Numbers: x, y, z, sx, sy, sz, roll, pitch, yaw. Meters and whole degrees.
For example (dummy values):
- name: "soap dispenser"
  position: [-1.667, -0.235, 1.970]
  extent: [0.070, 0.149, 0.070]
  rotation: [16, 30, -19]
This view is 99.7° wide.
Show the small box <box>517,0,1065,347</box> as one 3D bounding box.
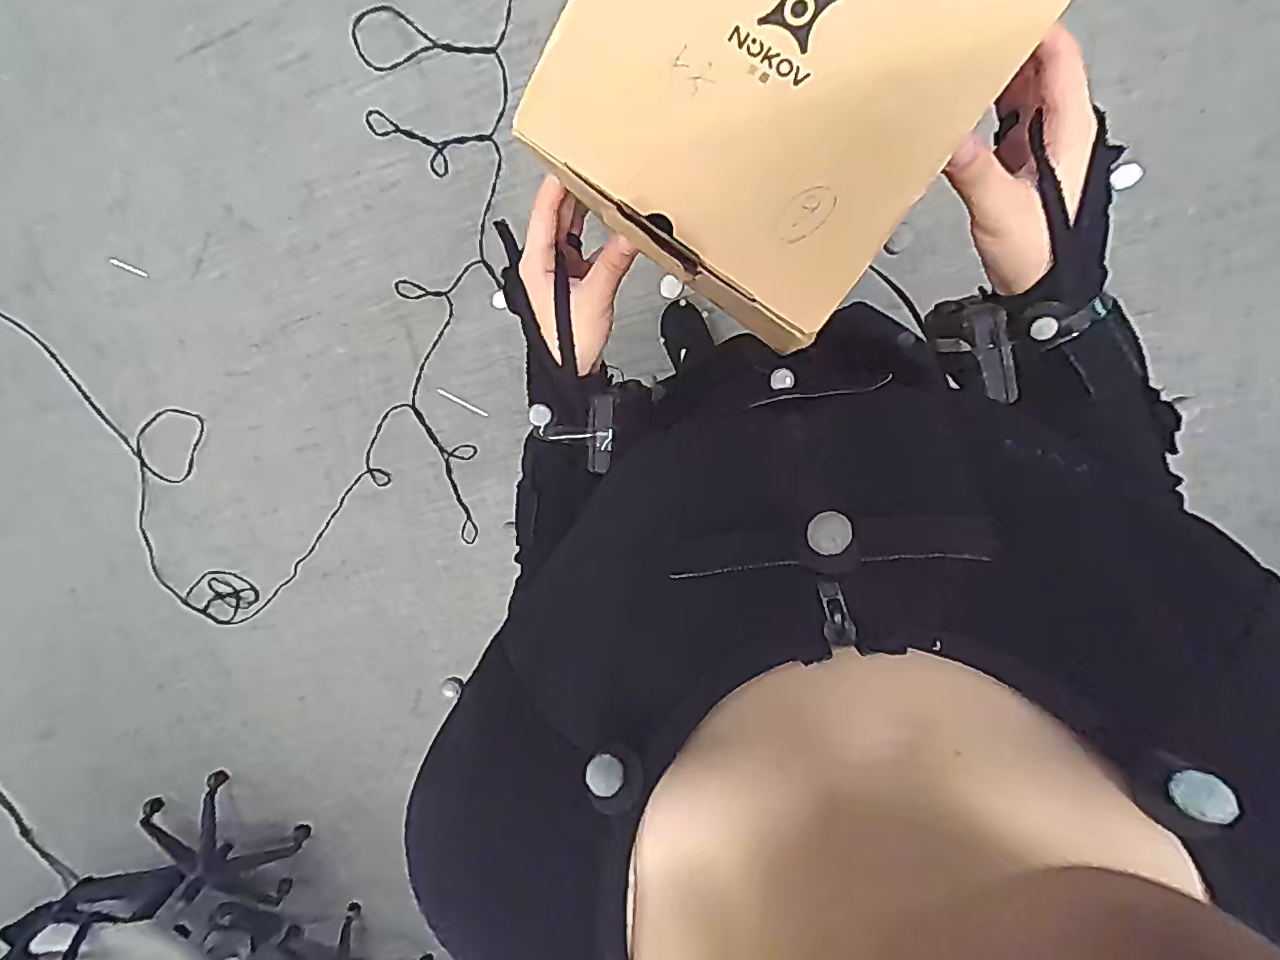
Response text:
- name: "small box"
  position: [0.071, -0.188, 0.298]
  extent: [0.168, 0.176, 0.179]
  rotation: [36, 107, 3]
